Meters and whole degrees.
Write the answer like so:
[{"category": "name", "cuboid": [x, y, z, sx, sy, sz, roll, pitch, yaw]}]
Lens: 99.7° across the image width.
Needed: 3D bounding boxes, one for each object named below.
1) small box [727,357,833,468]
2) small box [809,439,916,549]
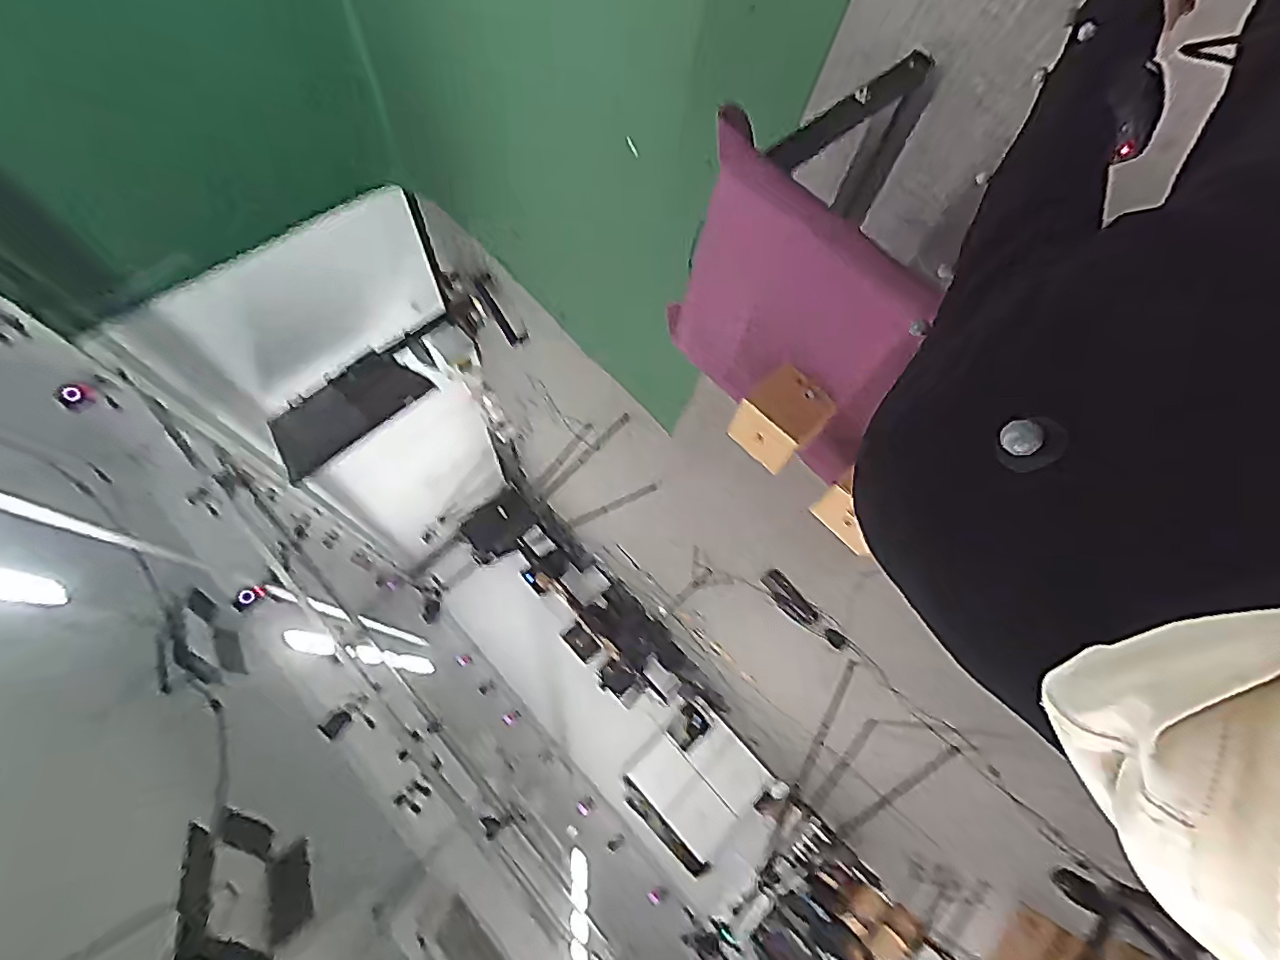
[{"category": "small box", "cuboid": [0.346, -0.165, 1.341, 0.168, 0.176, 0.179, 43, 159, 13]}, {"category": "small box", "cuboid": [0.544, 0.031, 1.284, 0.168, 0.176, 0.179, 44, 161, 12]}]
